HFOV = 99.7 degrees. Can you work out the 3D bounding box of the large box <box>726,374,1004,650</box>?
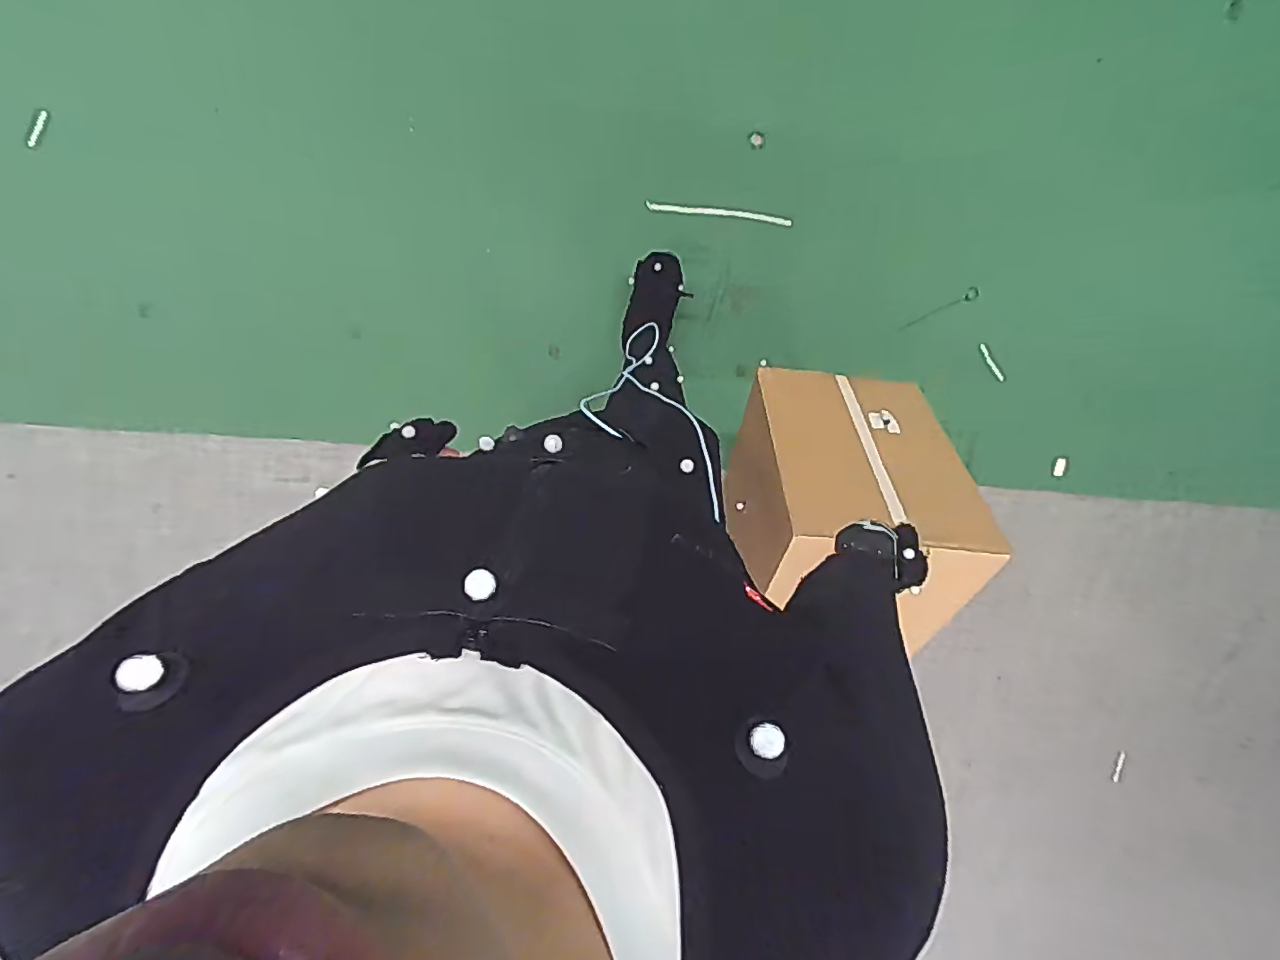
[{"bbox_3d":[0.353,0.055,0.995,0.320,0.408,0.320,6,134,-3],"label":"large box"}]
